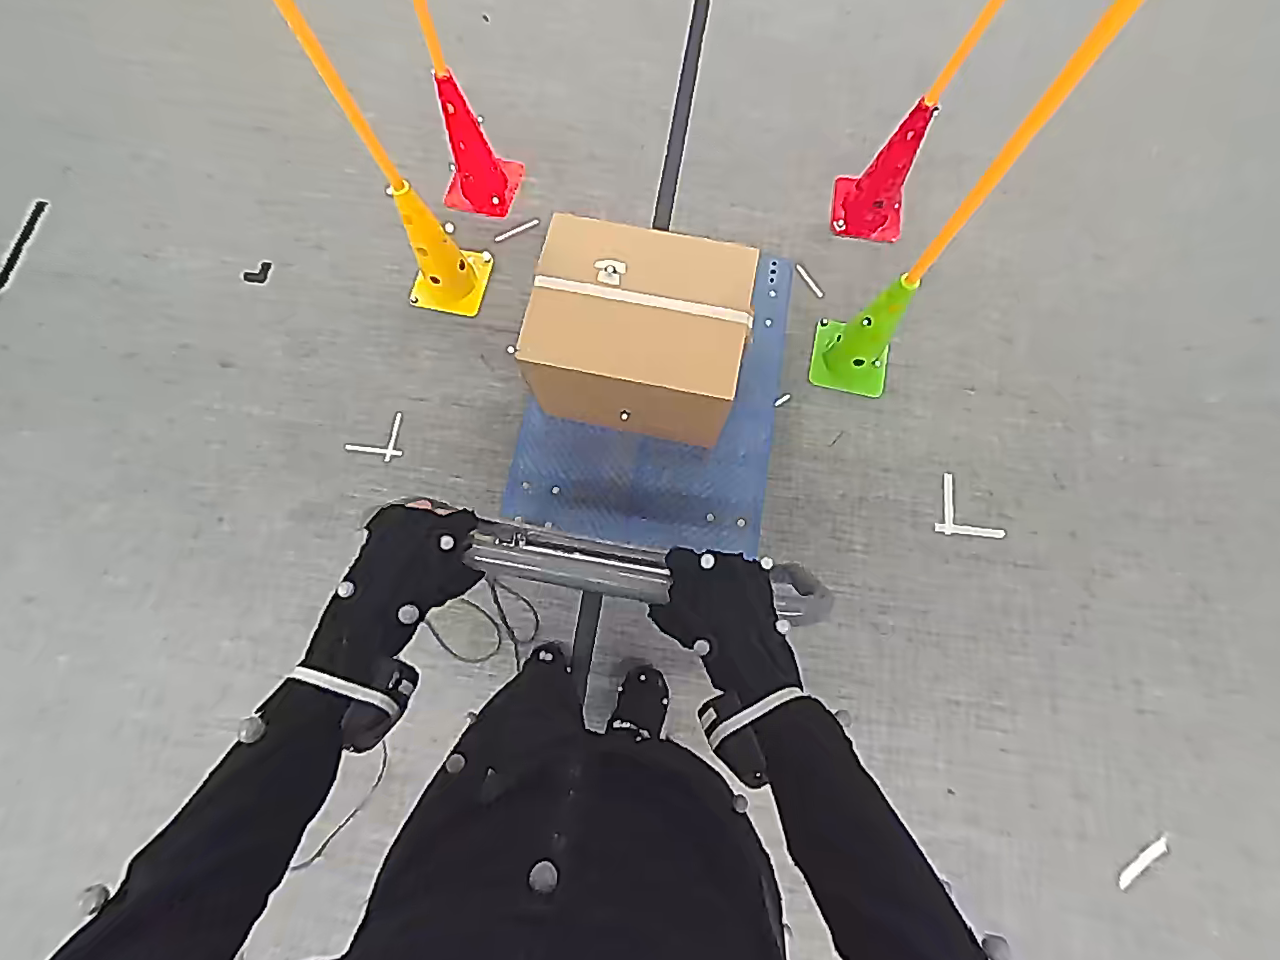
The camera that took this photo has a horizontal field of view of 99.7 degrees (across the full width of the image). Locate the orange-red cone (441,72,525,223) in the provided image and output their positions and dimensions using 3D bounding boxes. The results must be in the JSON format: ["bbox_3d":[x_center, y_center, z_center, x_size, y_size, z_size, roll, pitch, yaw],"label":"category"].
[{"bbox_3d":[-0.462,-0.918,1.462,0.198,0.360,0.199,16,76,4],"label":"orange-red cone"}]

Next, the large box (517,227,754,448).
[{"bbox_3d":[0.002,-0.281,1.153,0.408,0.320,0.320,11,77,4],"label":"large box"}]

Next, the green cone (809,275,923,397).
[{"bbox_3d":[0.573,-0.373,1.314,0.202,0.368,0.200,13,77,3],"label":"green cone"}]

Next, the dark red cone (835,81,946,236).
[{"bbox_3d":[0.668,-0.840,1.407,0.201,0.394,0.202,9,77,1],"label":"dark red cone"}]
